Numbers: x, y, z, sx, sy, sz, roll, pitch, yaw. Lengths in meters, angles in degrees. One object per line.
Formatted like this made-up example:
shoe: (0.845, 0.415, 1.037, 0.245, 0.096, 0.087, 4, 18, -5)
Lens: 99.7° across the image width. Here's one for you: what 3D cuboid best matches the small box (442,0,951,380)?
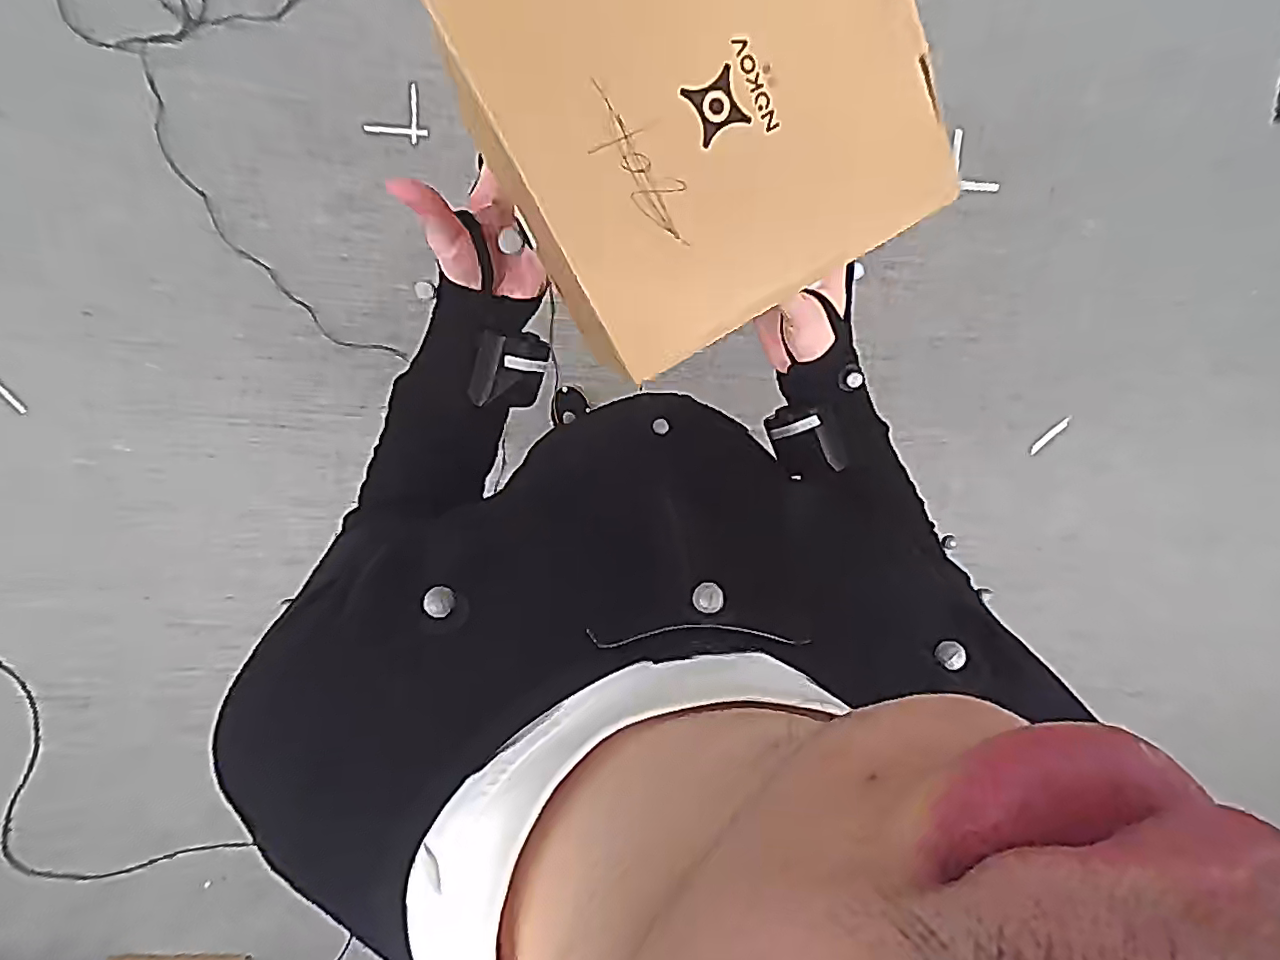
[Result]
small box: (0.021, -0.177, 0.305, 0.179, 0.176, 0.168, -32, 107, 0)
